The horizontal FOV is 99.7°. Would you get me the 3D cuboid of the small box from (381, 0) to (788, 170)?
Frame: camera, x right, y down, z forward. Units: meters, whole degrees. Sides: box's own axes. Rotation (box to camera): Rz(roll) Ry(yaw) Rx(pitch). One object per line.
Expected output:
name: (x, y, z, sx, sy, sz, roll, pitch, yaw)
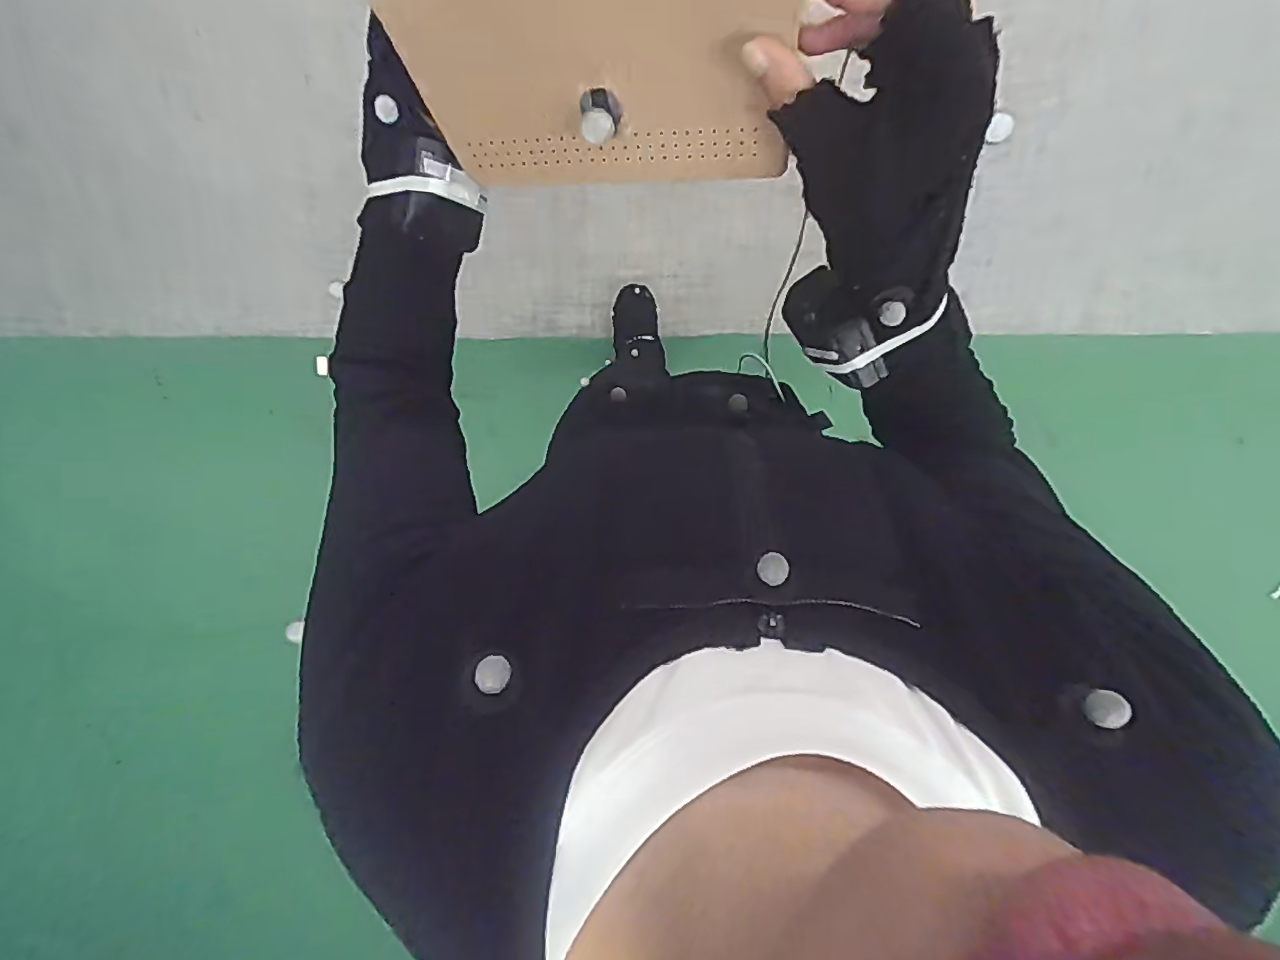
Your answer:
small box: (-0.017, -0.272, 0.247, 0.179, 0.176, 0.168, 6, 71, 13)
